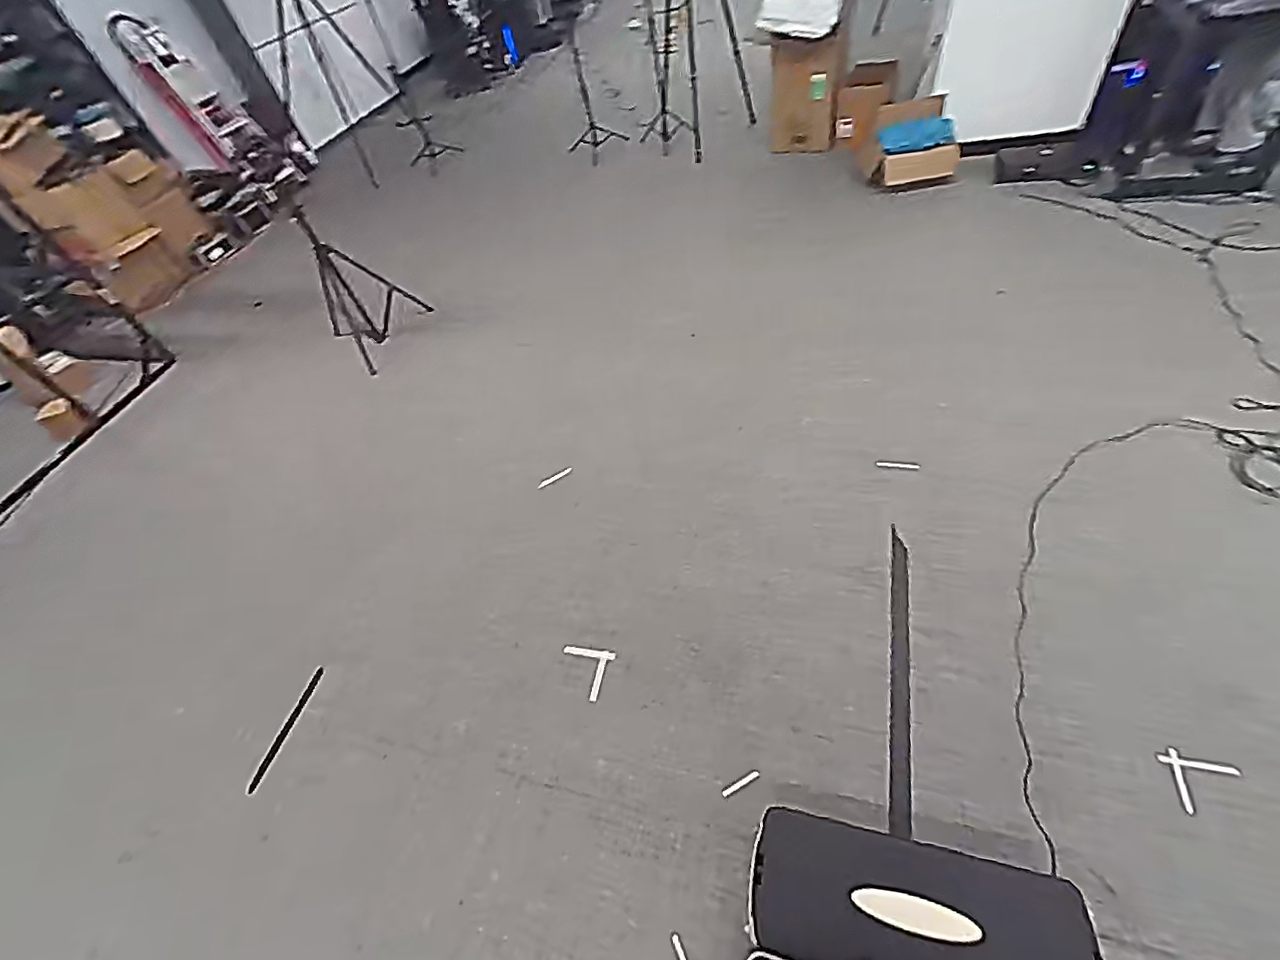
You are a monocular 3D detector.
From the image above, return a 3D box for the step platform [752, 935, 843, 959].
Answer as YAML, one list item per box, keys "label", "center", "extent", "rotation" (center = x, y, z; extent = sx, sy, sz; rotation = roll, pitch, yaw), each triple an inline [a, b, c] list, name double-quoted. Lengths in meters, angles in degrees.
- label: "step platform"
  center: [0.530, 1.109, 0.988]
  extent: [0.684, 0.204, 0.286]
  rotation: [3, 52, 18]
